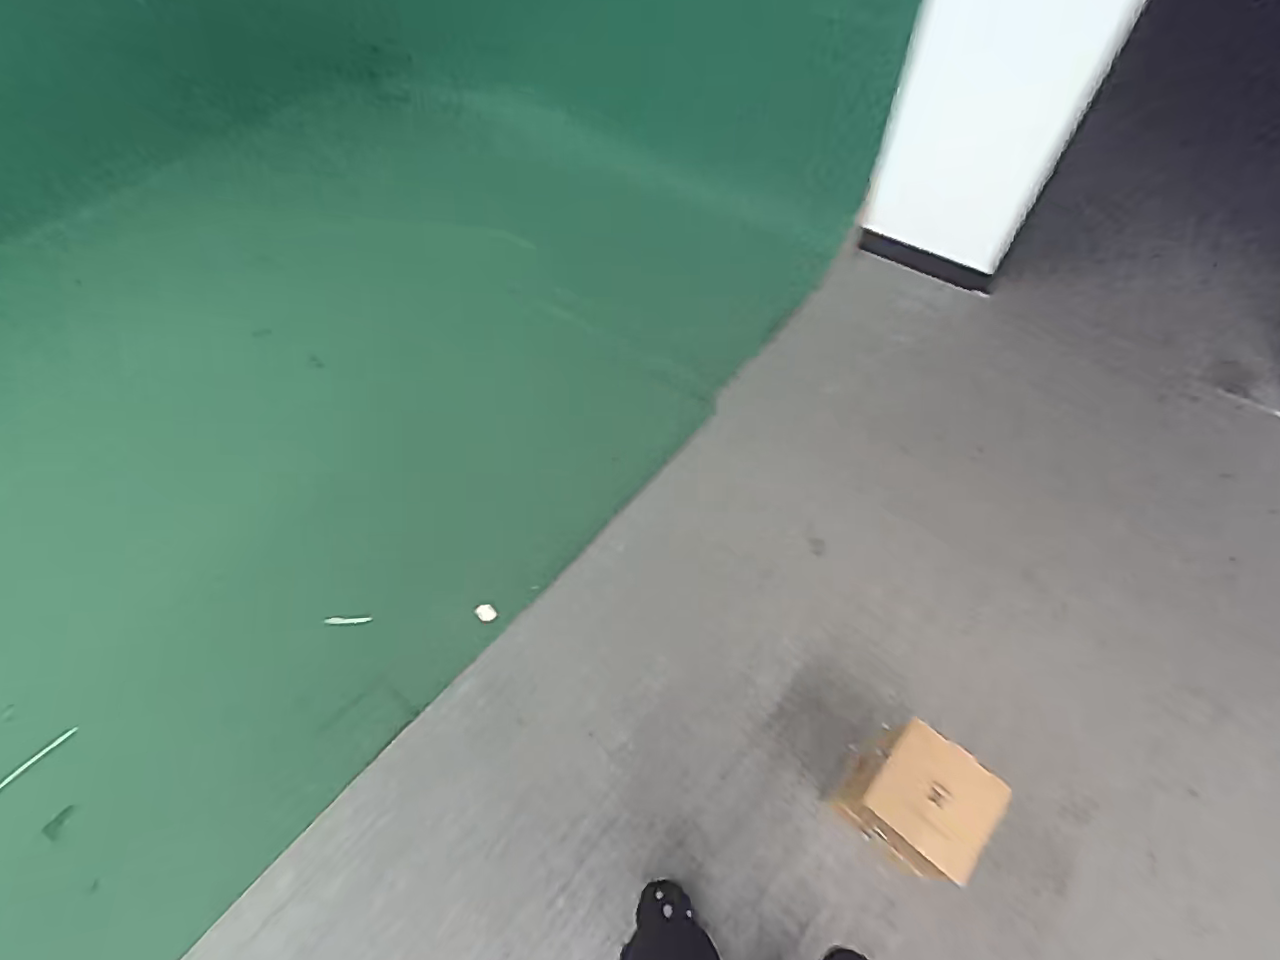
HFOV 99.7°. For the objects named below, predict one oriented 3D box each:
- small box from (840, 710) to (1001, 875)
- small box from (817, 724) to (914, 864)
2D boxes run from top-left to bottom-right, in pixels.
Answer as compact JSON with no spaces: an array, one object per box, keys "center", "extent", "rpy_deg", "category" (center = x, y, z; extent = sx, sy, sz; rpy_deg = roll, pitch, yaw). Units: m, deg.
[{"center":[0.475,0.536,0.943],"extent":[0.168,0.176,0.179],"rpy_deg":[36,70,25],"category":"small box"},{"center":[0.485,0.631,1.094],"extent":[0.179,0.176,0.168],"rpy_deg":[38,70,23],"category":"small box"}]
